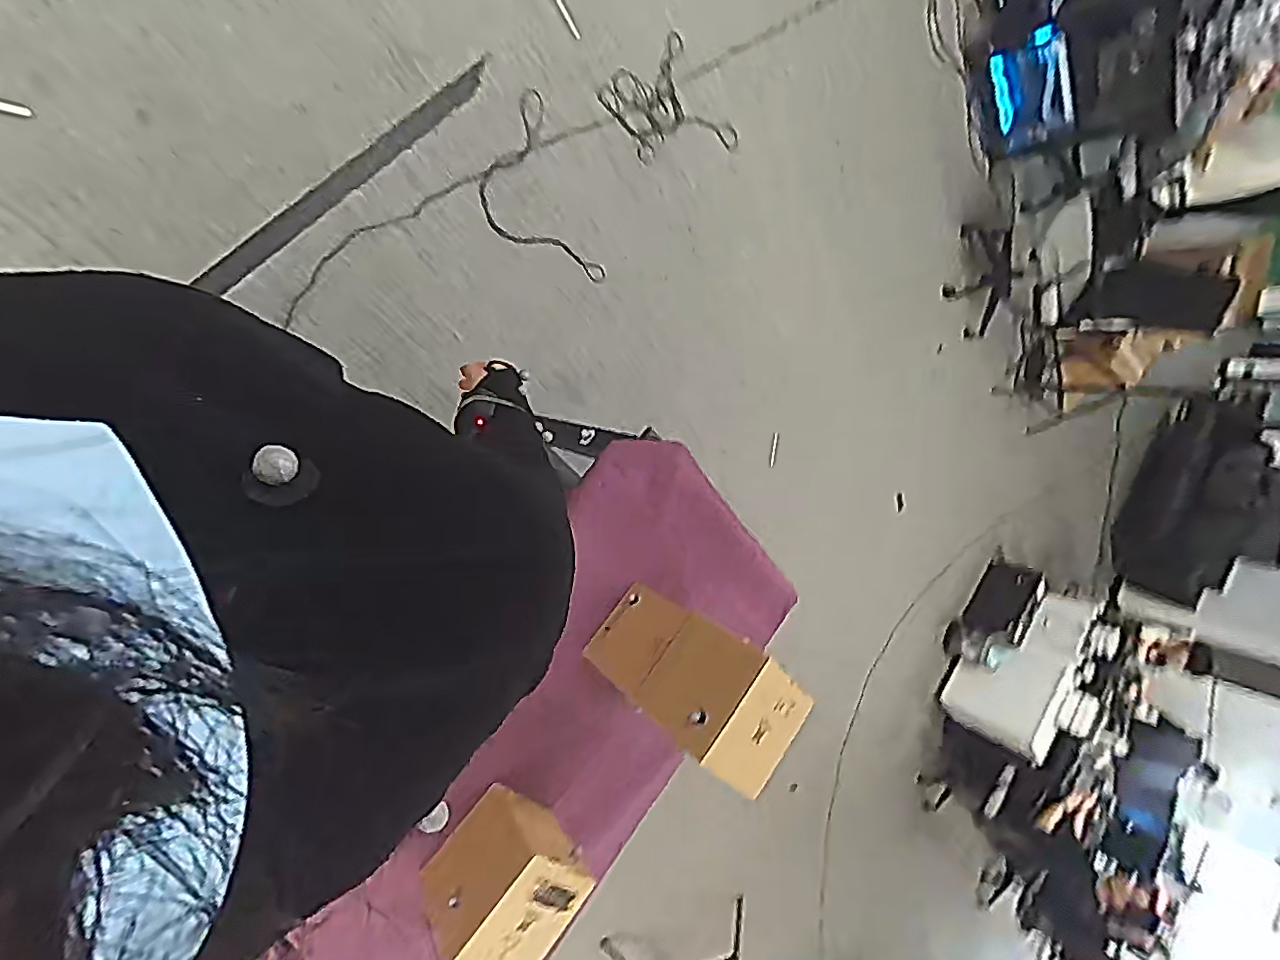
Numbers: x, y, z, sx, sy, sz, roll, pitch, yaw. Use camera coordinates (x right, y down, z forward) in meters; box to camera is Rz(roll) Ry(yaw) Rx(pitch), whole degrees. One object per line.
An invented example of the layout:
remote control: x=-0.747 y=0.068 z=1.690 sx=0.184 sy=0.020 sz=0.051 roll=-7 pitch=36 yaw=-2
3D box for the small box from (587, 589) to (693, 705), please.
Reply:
small box: x=0.036 y=0.320 z=0.981 sx=0.168 sy=0.176 sz=0.179 roll=-51 pitch=125 yaw=-15

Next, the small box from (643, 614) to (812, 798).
small box: x=0.128 y=0.344 z=0.846 sx=0.179 sy=0.176 sz=0.168 roll=-52 pitch=125 yaw=-14
